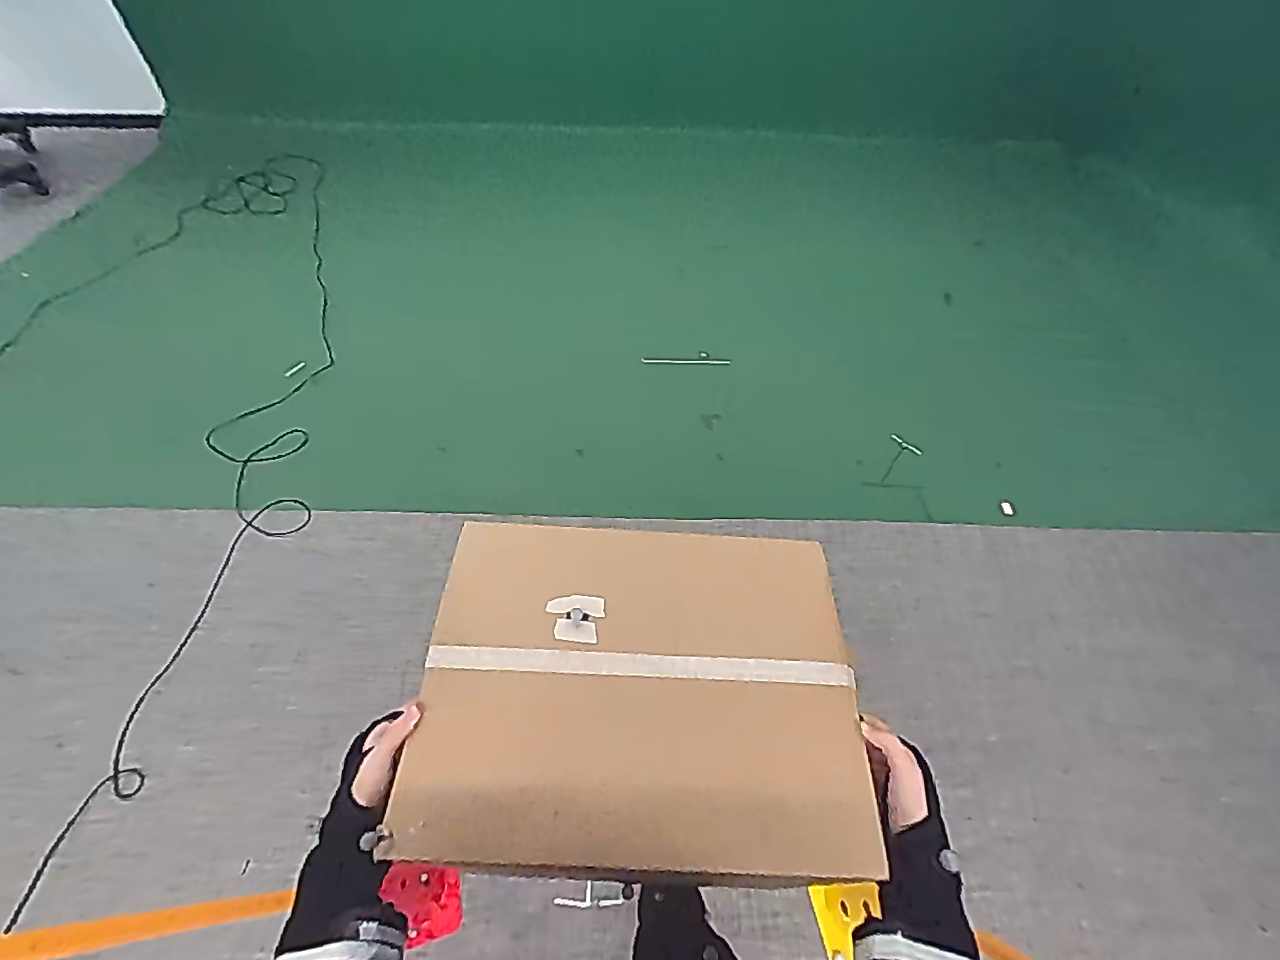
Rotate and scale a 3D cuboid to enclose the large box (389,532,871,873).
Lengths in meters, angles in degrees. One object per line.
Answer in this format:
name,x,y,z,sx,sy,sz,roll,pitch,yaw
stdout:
large box,-0.007,0.277,0.648,0.408,0.320,0.320,3,51,-1
